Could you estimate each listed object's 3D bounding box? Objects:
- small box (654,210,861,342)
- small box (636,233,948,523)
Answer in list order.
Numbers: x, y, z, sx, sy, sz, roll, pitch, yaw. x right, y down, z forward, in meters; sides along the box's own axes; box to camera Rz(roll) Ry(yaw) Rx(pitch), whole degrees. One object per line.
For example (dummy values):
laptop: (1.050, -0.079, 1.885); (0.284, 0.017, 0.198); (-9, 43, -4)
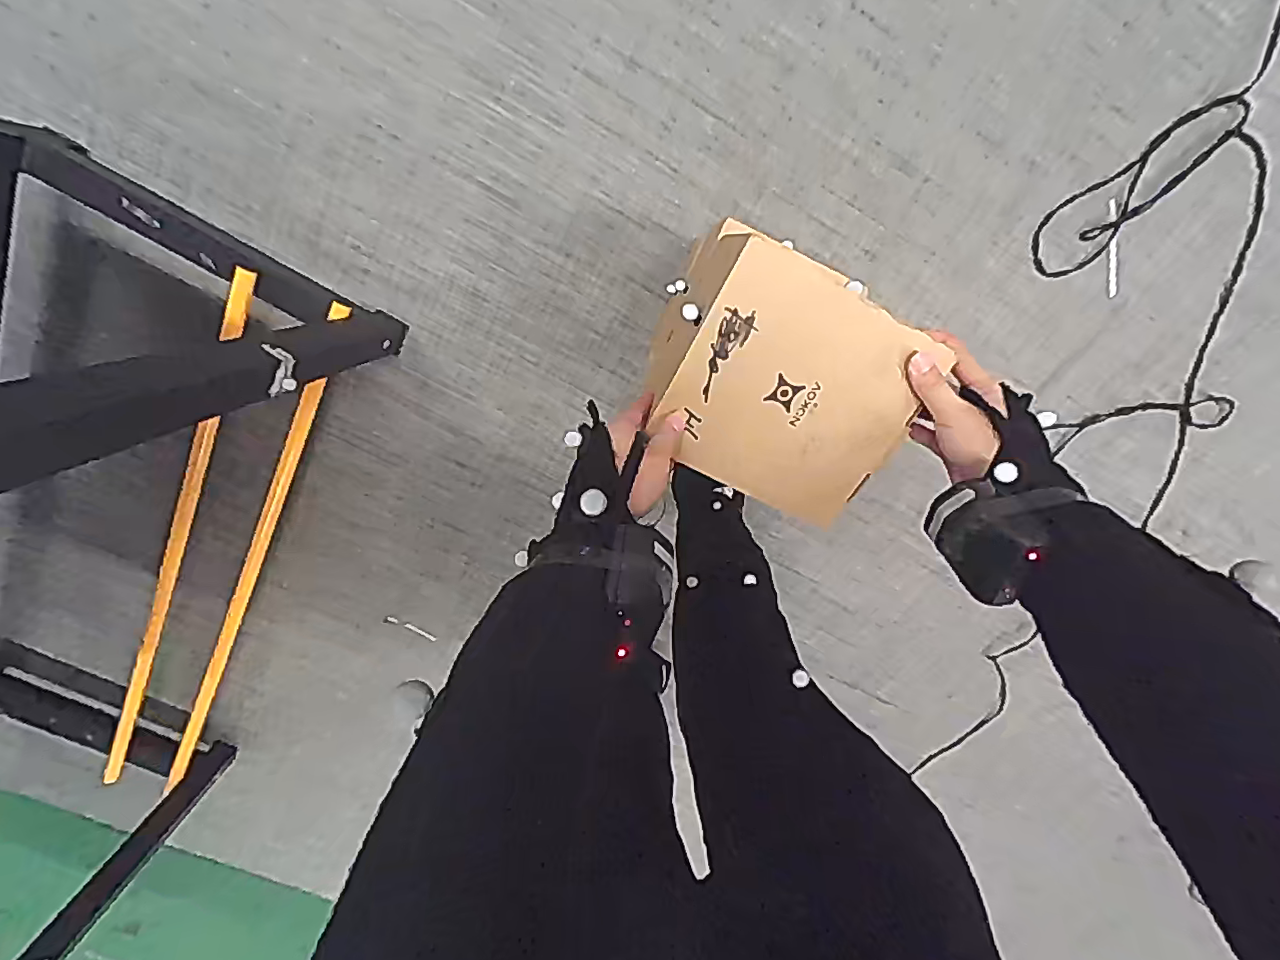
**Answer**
small box: (0.121, -0.190, 0.645); (0.168, 0.176, 0.179); (24, 110, -8)
small box: (0.110, -0.097, 0.472); (0.179, 0.176, 0.168); (26, 111, -11)
